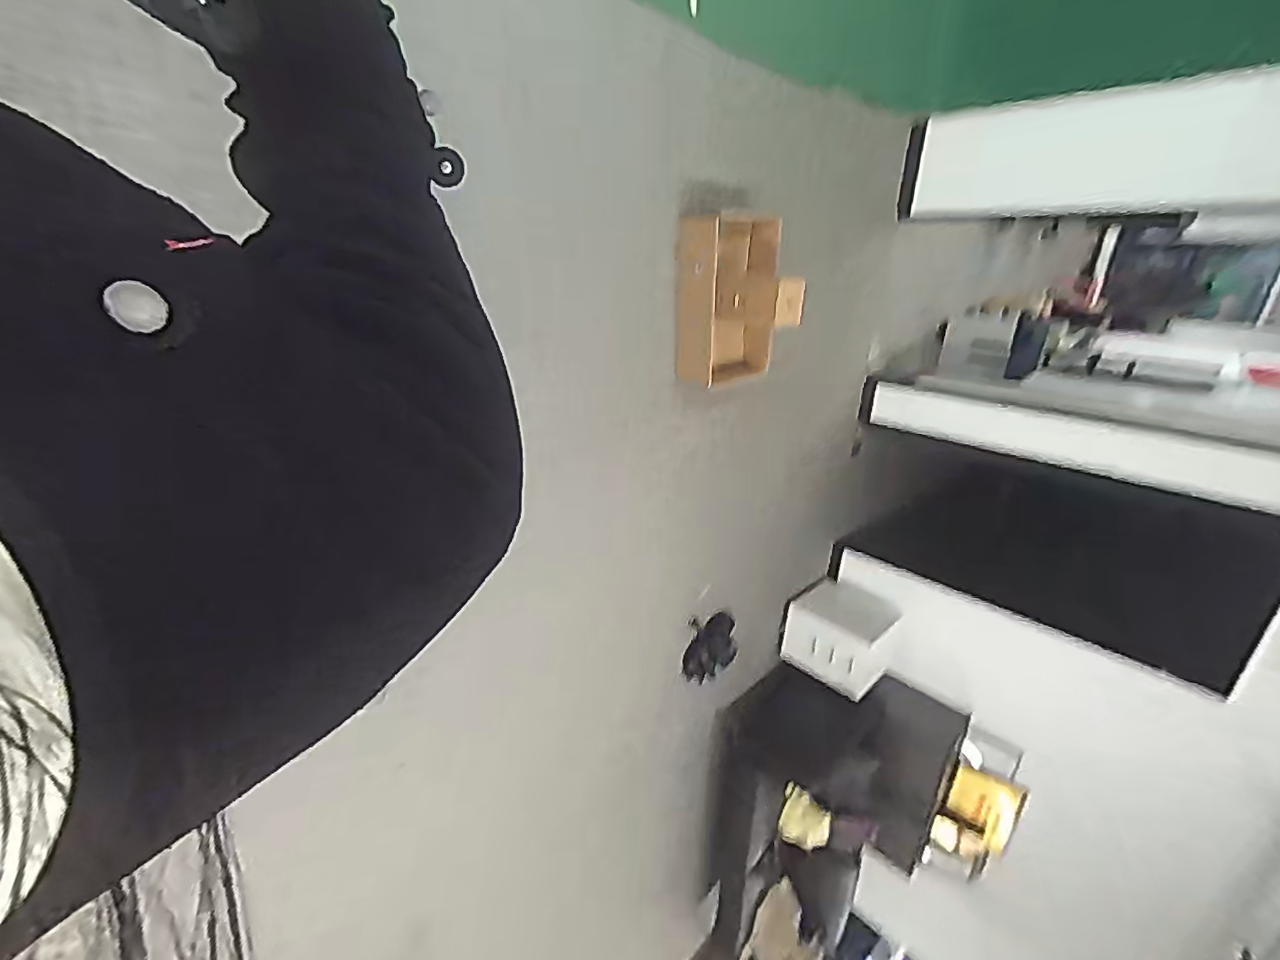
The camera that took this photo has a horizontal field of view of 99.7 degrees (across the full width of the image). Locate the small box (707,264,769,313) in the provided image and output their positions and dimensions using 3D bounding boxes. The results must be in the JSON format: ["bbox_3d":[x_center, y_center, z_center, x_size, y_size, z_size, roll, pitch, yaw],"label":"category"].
[{"bbox_3d":[0.374,-0.740,2.080,0.179,0.176,0.168,-22,123,-39],"label":"small box"}]

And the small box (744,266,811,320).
[{"bbox_3d":[0.495,-0.682,1.962,0.179,0.176,0.168,-24,124,-37],"label":"small box"}]
